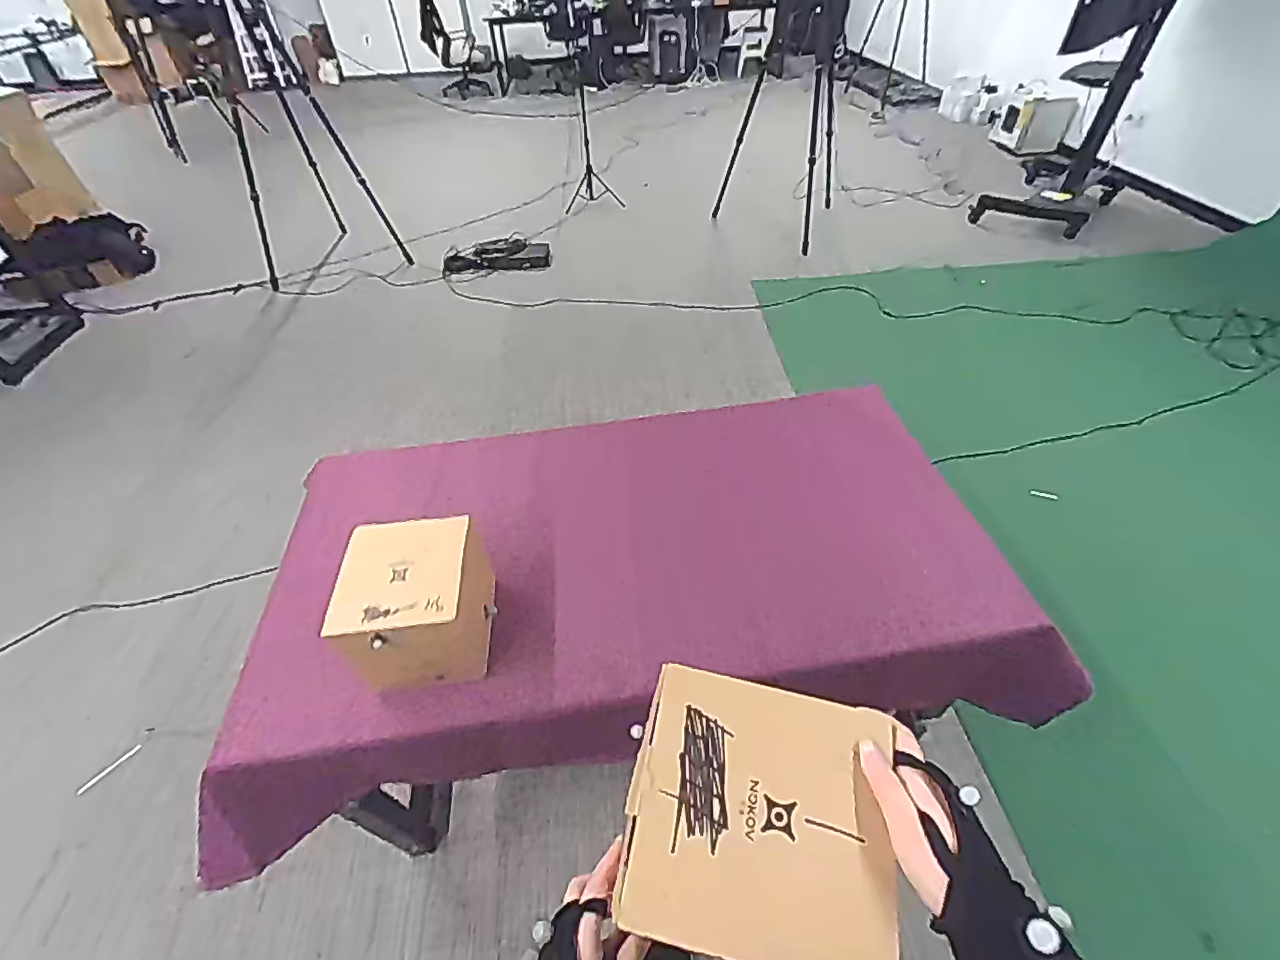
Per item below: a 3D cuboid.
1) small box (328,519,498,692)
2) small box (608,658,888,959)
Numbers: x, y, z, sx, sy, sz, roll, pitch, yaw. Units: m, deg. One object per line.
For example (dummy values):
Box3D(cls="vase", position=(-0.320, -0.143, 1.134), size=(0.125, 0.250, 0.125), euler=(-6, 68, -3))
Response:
Box3D(cls="small box", position=(-0.310, 0.182, 0.785), size=(0.168, 0.176, 0.179), euler=(-6, 45, -2))
Box3D(cls="small box", position=(0.080, 0.267, 0.438), size=(0.179, 0.176, 0.168), euler=(13, 57, 6))
